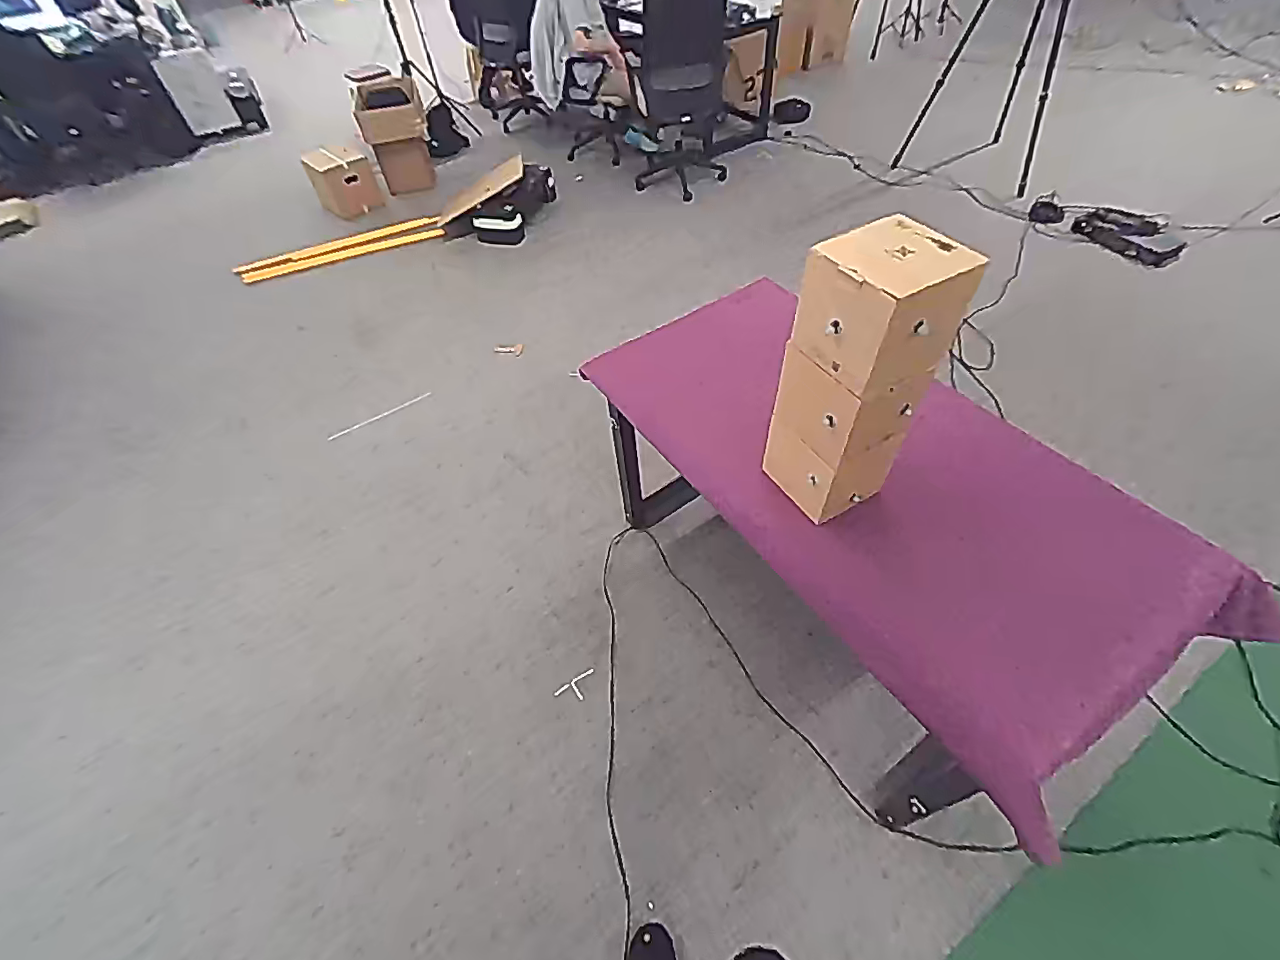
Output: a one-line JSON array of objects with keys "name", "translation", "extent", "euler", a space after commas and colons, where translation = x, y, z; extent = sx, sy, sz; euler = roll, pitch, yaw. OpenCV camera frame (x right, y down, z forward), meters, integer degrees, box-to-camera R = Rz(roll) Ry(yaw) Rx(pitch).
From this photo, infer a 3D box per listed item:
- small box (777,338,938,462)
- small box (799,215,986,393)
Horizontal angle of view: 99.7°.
[{"name": "small box", "translation": [0.360, -0.153, 0.932], "extent": [0.168, 0.176, 0.179], "euler": [-25, 53, -16]}, {"name": "small box", "translation": [0.357, -0.259, 0.807], "extent": [0.179, 0.176, 0.168], "euler": [-26, 54, -16]}]
